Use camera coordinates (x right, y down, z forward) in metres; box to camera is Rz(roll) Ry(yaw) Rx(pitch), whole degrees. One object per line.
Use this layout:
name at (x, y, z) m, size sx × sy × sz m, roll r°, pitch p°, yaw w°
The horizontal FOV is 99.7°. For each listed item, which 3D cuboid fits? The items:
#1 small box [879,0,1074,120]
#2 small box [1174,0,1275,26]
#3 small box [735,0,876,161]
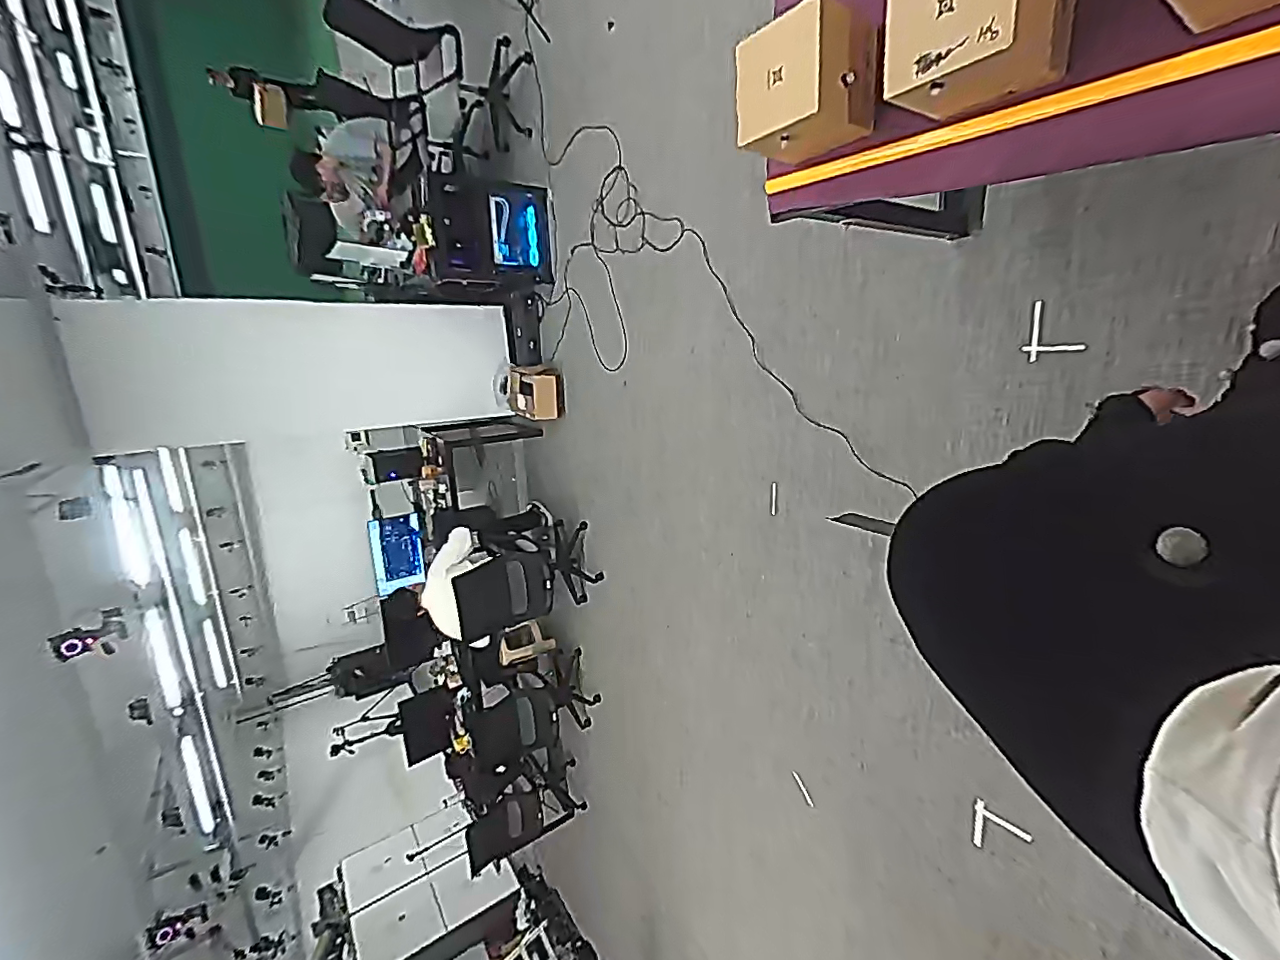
small box at (0.448, -0.617, 0.719) m, size 0.168 × 0.176 × 0.179 m, roll 18°, pitch 114°, yaw 55°
small box at (0.611, -0.564, 0.489) m, size 0.179 × 0.176 × 0.168 m, roll 16°, pitch 112°, yaw 54°
small box at (0.287, -0.681, 0.941) m, size 0.179 × 0.176 × 0.168 m, roll 15°, pitch 111°, yaw 53°
